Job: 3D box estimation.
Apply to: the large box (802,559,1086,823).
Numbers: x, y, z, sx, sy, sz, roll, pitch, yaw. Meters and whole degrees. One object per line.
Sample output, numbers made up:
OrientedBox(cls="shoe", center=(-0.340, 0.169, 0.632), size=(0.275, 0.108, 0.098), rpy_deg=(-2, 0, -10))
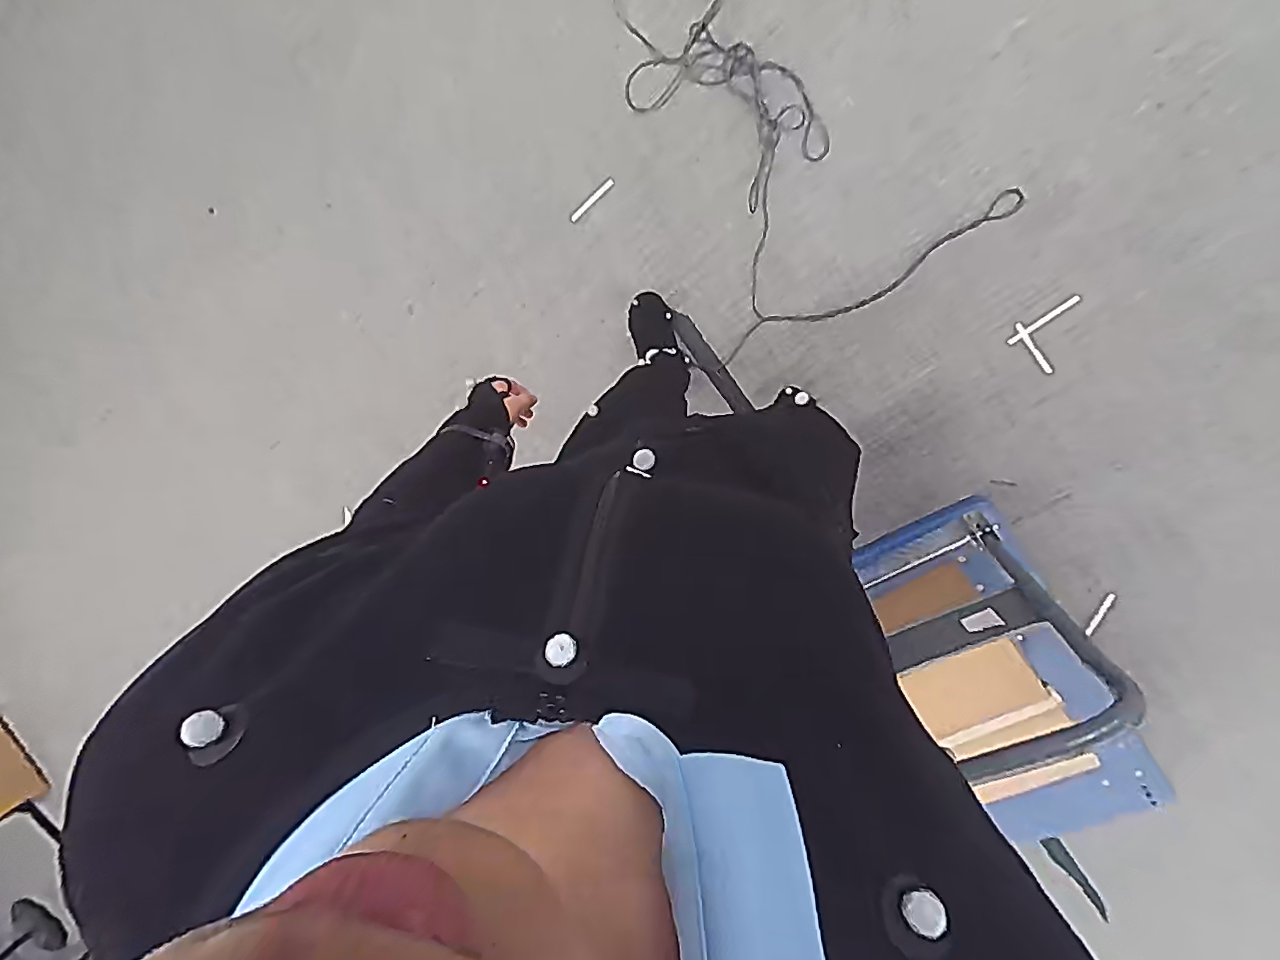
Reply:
OrientedBox(cls="large box", center=(0.610, 0.444, 1.177), size=(0.408, 0.320, 0.320), rpy_deg=(-37, 93, 22))
